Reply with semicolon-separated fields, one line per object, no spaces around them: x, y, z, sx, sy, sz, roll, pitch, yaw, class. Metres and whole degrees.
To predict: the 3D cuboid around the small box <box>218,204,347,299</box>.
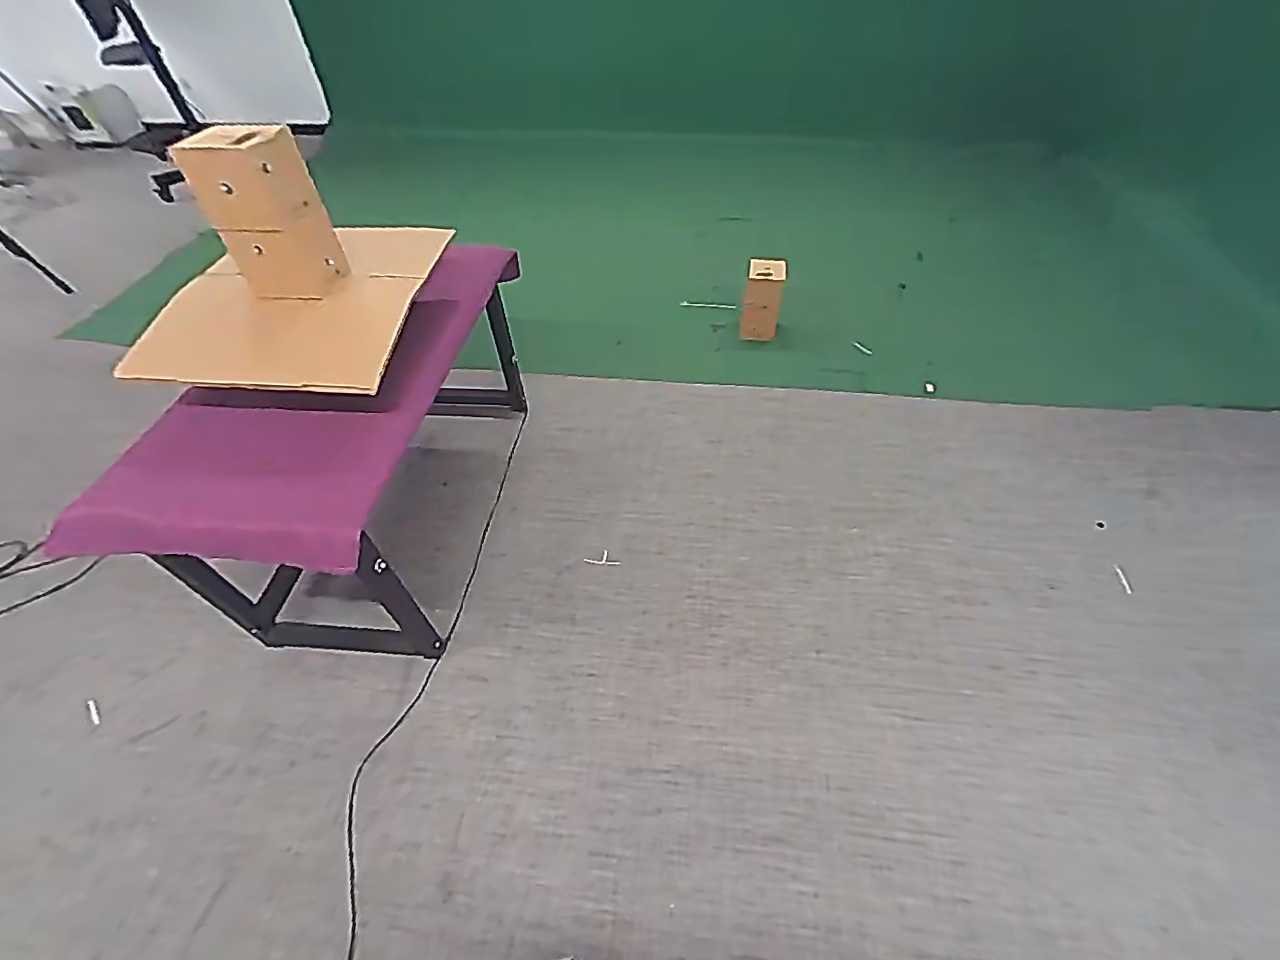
-0.868;-0.562;1.333;0.179;0.176;0.168;3;48;3;small box

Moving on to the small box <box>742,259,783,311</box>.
0.582;-0.925;2.574;0.168;0.176;0.179;7;50;6;small box

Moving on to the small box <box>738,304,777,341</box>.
0.584;-0.820;2.700;0.168;0.176;0.179;6;51;6;small box
